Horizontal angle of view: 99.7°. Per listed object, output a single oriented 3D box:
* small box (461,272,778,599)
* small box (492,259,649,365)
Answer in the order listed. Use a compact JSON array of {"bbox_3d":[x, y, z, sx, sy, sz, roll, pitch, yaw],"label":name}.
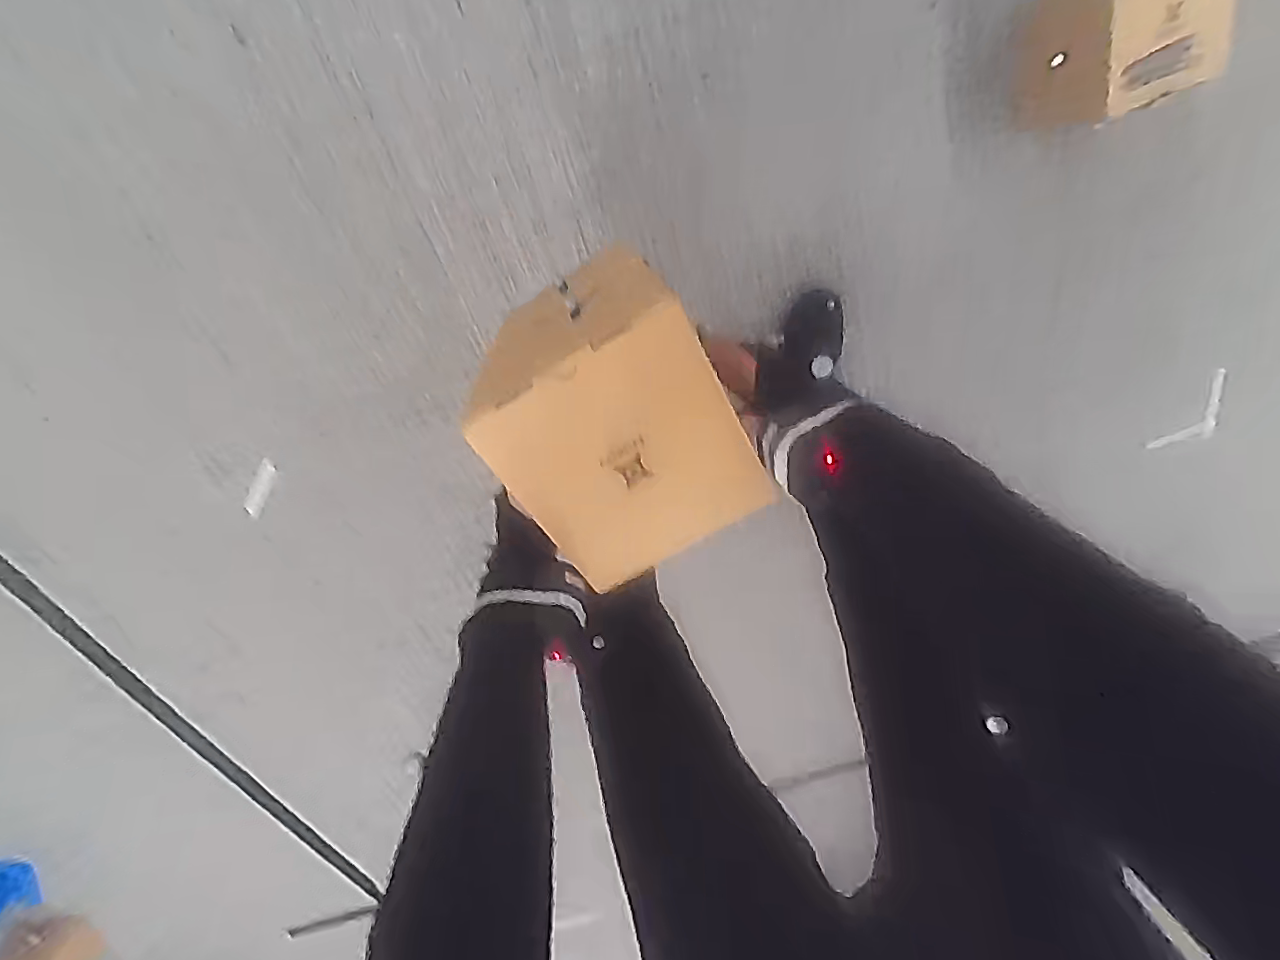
[{"bbox_3d":[-0.015,-0.044,0.446,0.168,0.176,0.179,-30,119,9],"label":"small box"},{"bbox_3d":[-0.036,-0.120,0.588,0.168,0.176,0.179,-30,120,9],"label":"small box"}]
